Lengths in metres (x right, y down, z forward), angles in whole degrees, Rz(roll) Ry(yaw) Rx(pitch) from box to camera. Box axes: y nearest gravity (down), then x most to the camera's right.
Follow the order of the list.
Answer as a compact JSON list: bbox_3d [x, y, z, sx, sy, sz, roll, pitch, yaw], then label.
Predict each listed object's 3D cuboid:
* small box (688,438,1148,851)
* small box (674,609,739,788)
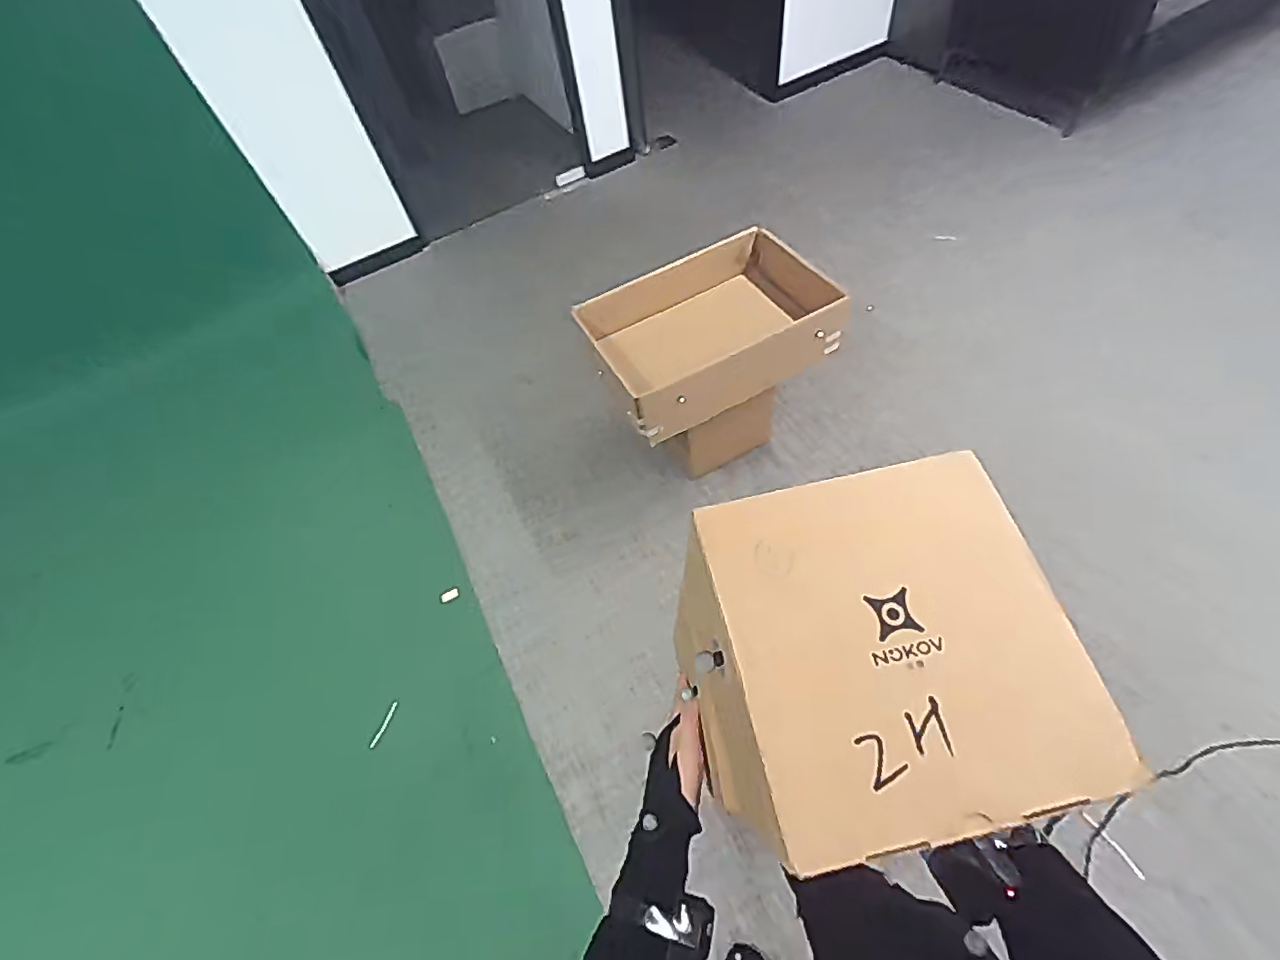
[{"bbox_3d":[0.129,0.101,0.339,0.168,0.176,0.179,-12,65,-3],"label":"small box"},{"bbox_3d":[0.137,0.242,0.637,0.168,0.176,0.179,-10,65,-3],"label":"small box"}]
